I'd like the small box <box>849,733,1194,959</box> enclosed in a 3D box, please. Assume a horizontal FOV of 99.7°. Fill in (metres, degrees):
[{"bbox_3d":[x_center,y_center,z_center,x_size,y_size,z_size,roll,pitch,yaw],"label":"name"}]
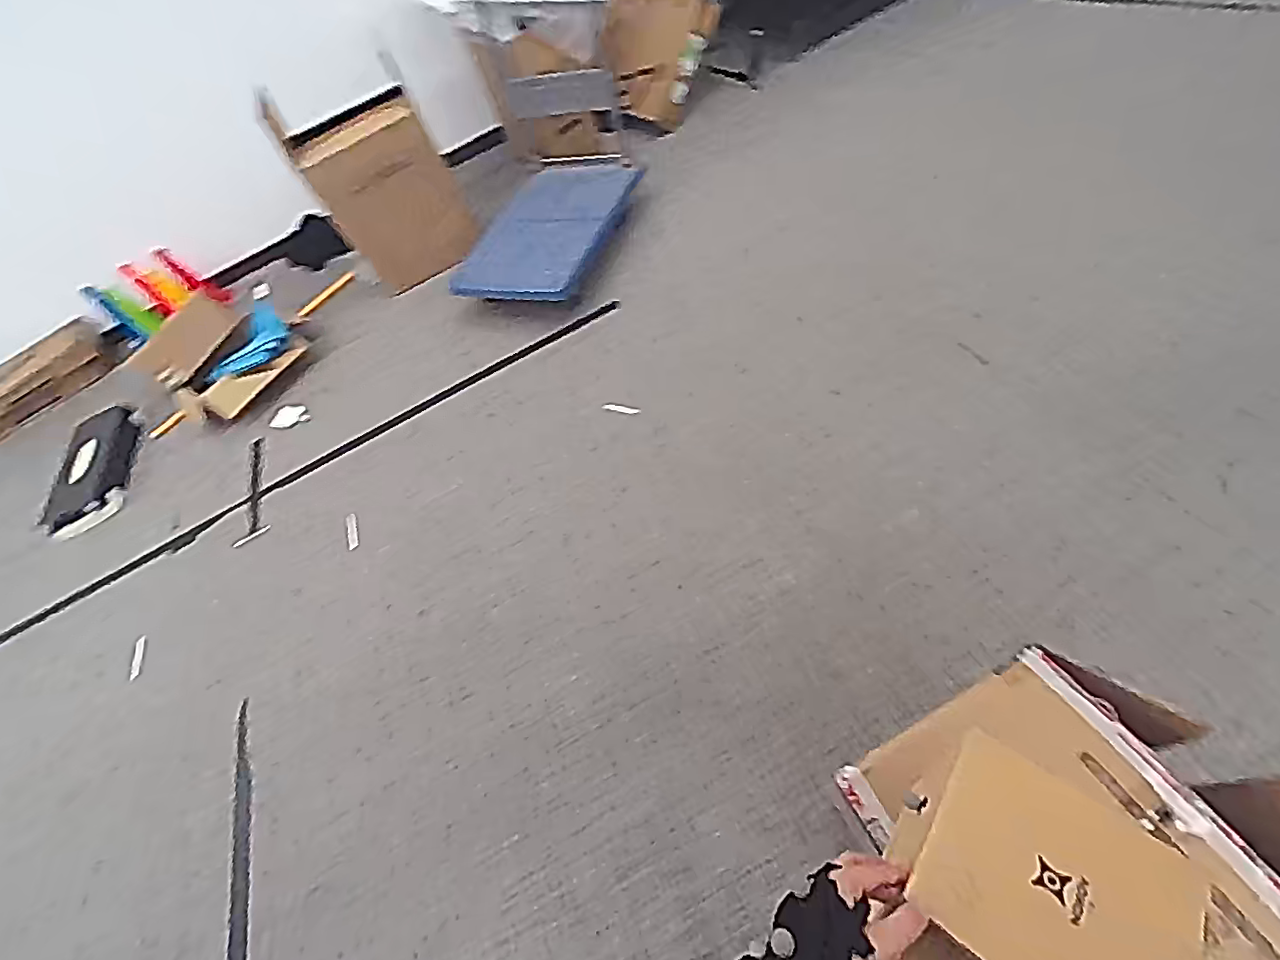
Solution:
[{"bbox_3d":[0.306,0.366,0.463,0.179,0.176,0.168,29,52,28],"label":"small box"}]
